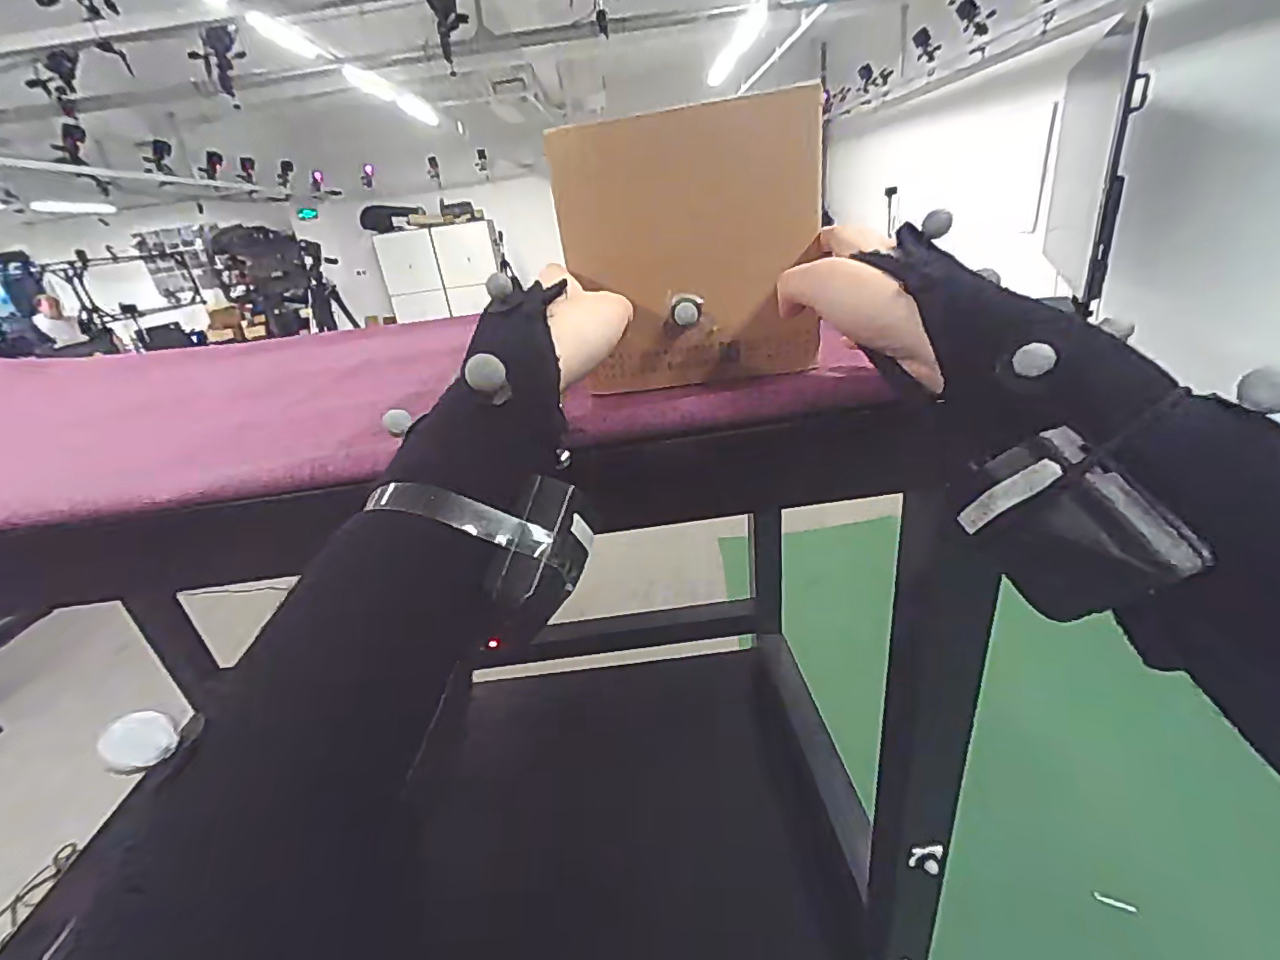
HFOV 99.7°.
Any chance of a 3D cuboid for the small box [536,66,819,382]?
[{"bbox_3d":[0.035,-0.183,0.416,0.168,0.176,0.179,-6,26,7],"label":"small box"}]
